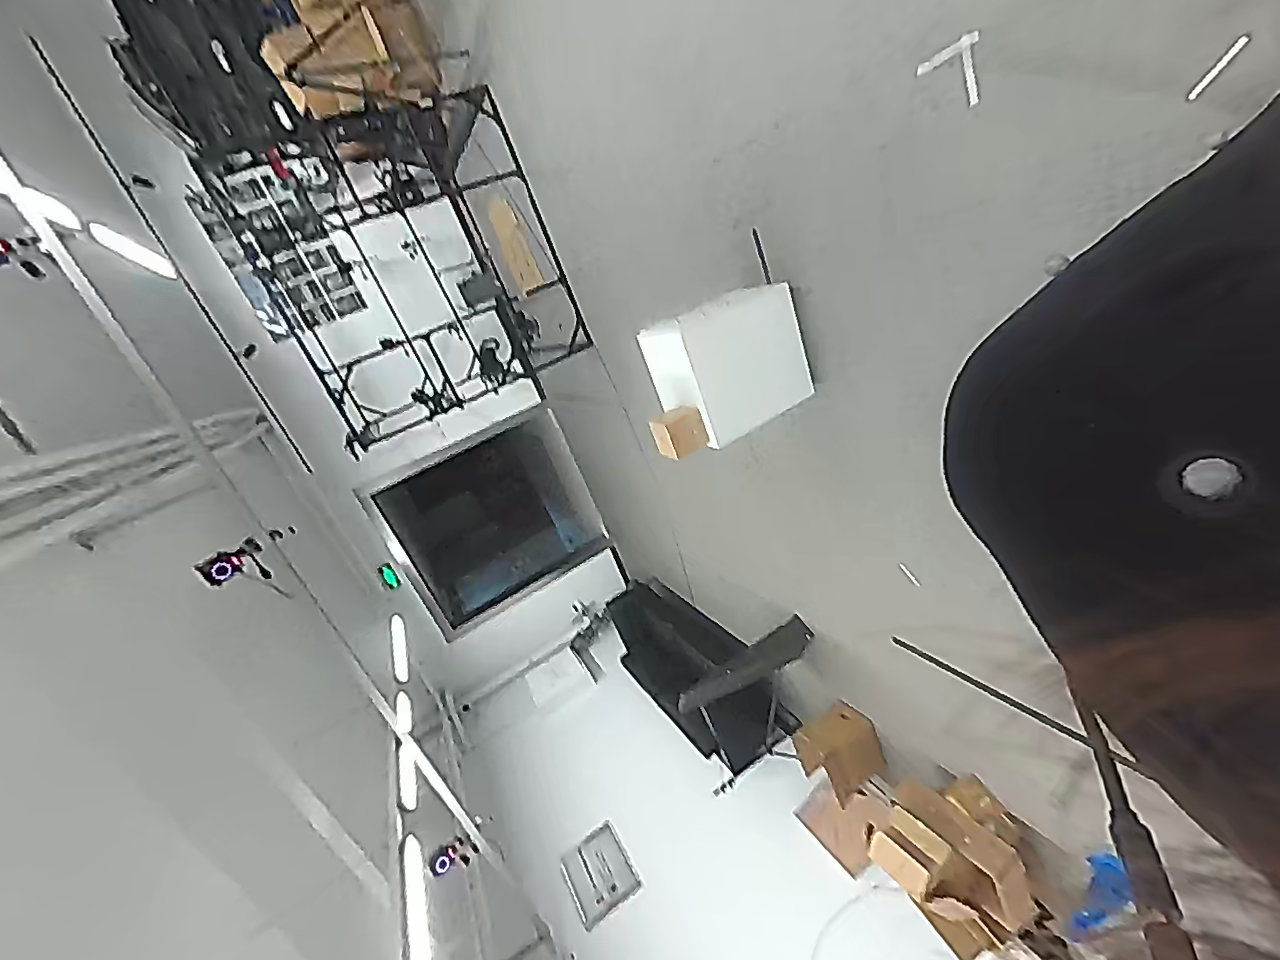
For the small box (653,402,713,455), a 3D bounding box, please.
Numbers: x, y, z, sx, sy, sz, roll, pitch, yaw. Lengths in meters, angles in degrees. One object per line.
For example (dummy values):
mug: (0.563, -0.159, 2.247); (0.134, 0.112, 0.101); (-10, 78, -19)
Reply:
small box: (0.188, -0.228, 2.331); (0.179, 0.176, 0.168); (27, 142, 63)
